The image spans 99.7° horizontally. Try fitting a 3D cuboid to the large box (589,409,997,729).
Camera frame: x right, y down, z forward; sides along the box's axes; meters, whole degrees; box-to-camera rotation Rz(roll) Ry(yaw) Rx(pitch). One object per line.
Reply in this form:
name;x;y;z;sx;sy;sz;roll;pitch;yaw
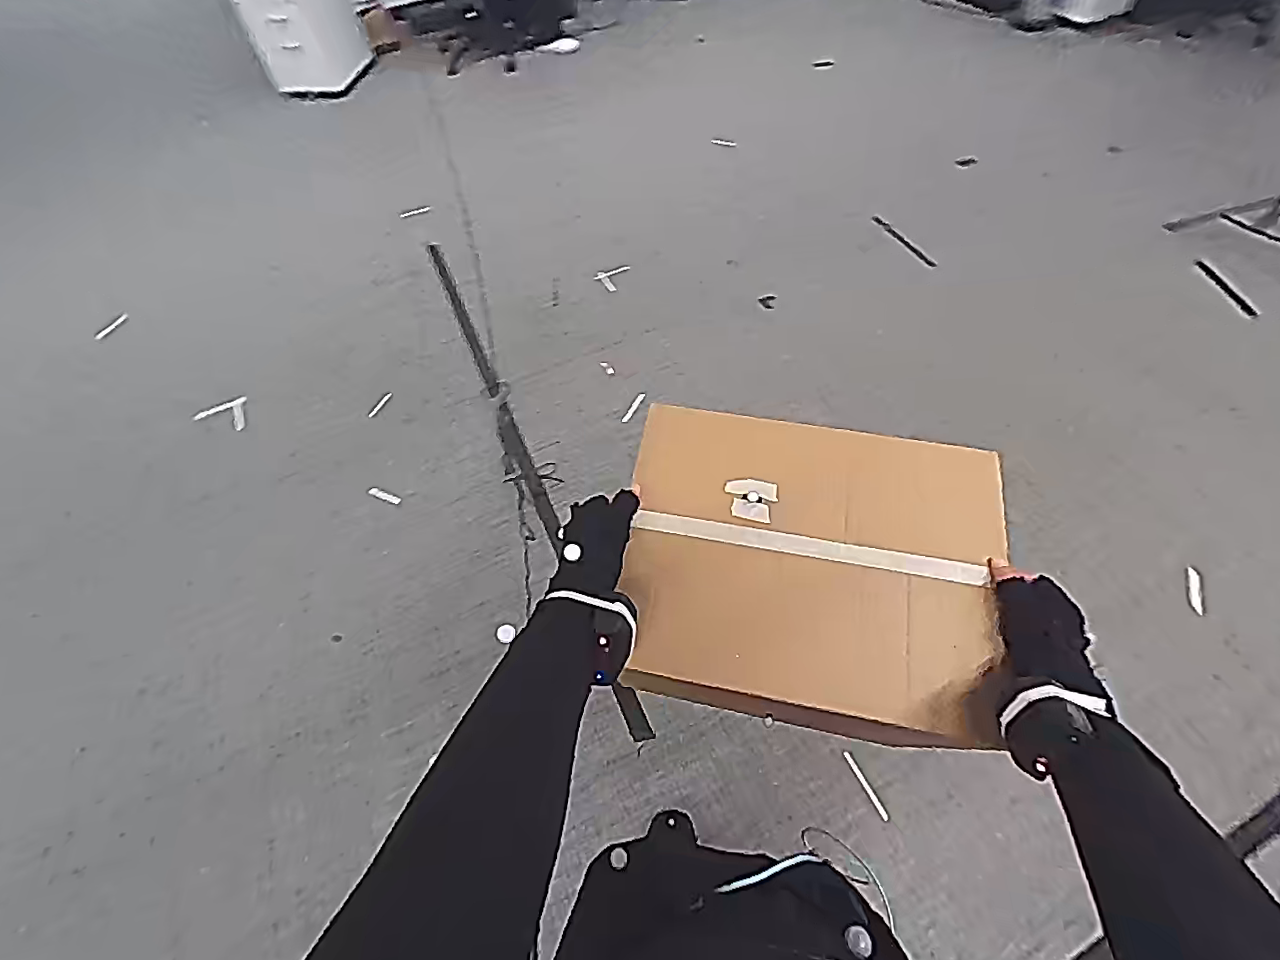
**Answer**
large box;0.181;0.134;0.727;0.408;0.320;0.320;8;65;9
